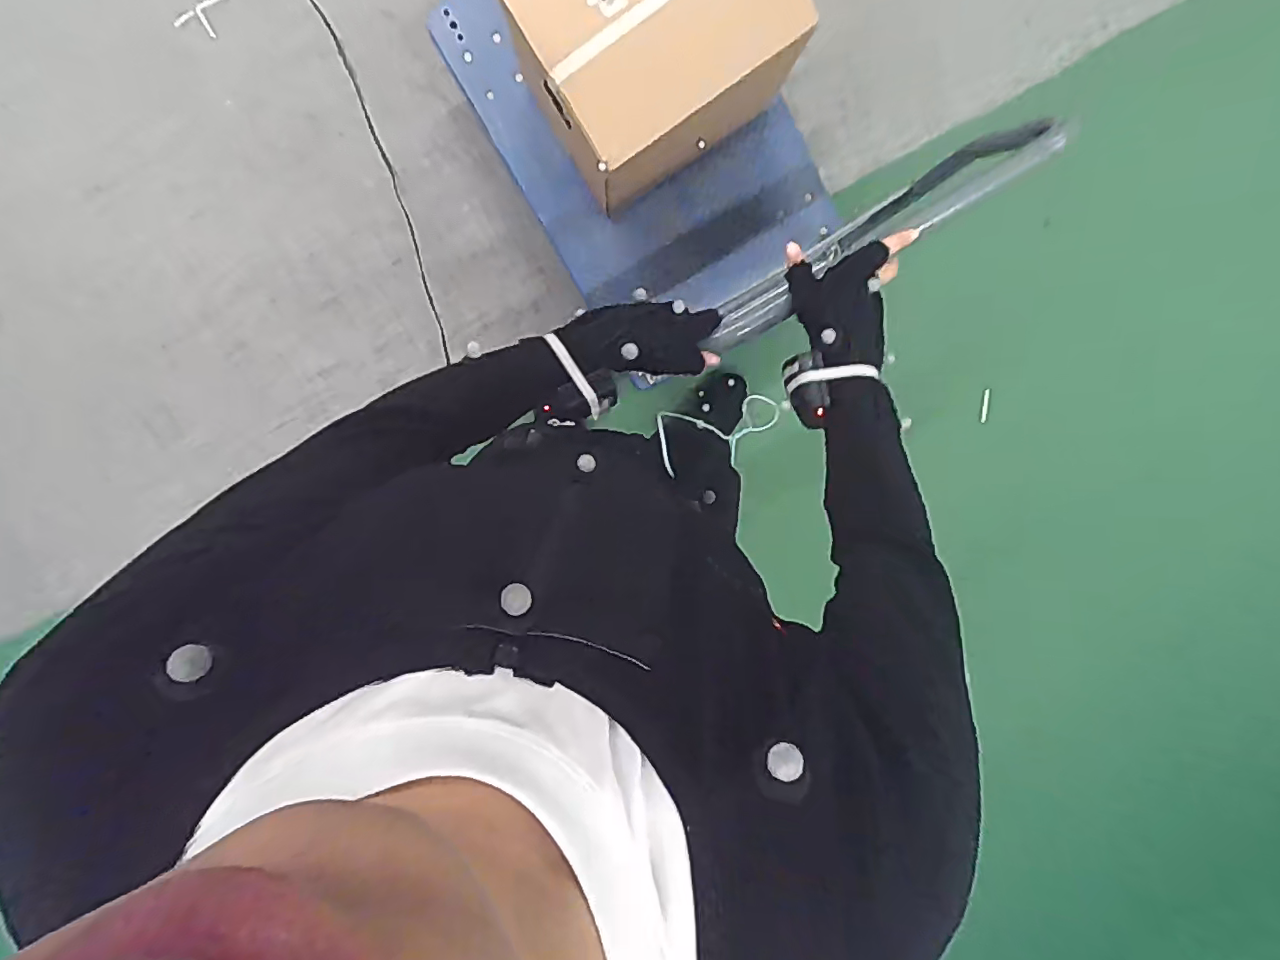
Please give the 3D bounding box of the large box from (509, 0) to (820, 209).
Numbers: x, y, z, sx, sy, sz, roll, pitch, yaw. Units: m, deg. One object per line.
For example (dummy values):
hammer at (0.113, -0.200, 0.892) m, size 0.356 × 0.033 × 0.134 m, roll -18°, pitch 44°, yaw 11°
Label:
large box at (0.033, -0.775, 0.976) m, size 0.408 × 0.320 × 0.320 m, roll -33°, pitch 102°, yaw 5°
